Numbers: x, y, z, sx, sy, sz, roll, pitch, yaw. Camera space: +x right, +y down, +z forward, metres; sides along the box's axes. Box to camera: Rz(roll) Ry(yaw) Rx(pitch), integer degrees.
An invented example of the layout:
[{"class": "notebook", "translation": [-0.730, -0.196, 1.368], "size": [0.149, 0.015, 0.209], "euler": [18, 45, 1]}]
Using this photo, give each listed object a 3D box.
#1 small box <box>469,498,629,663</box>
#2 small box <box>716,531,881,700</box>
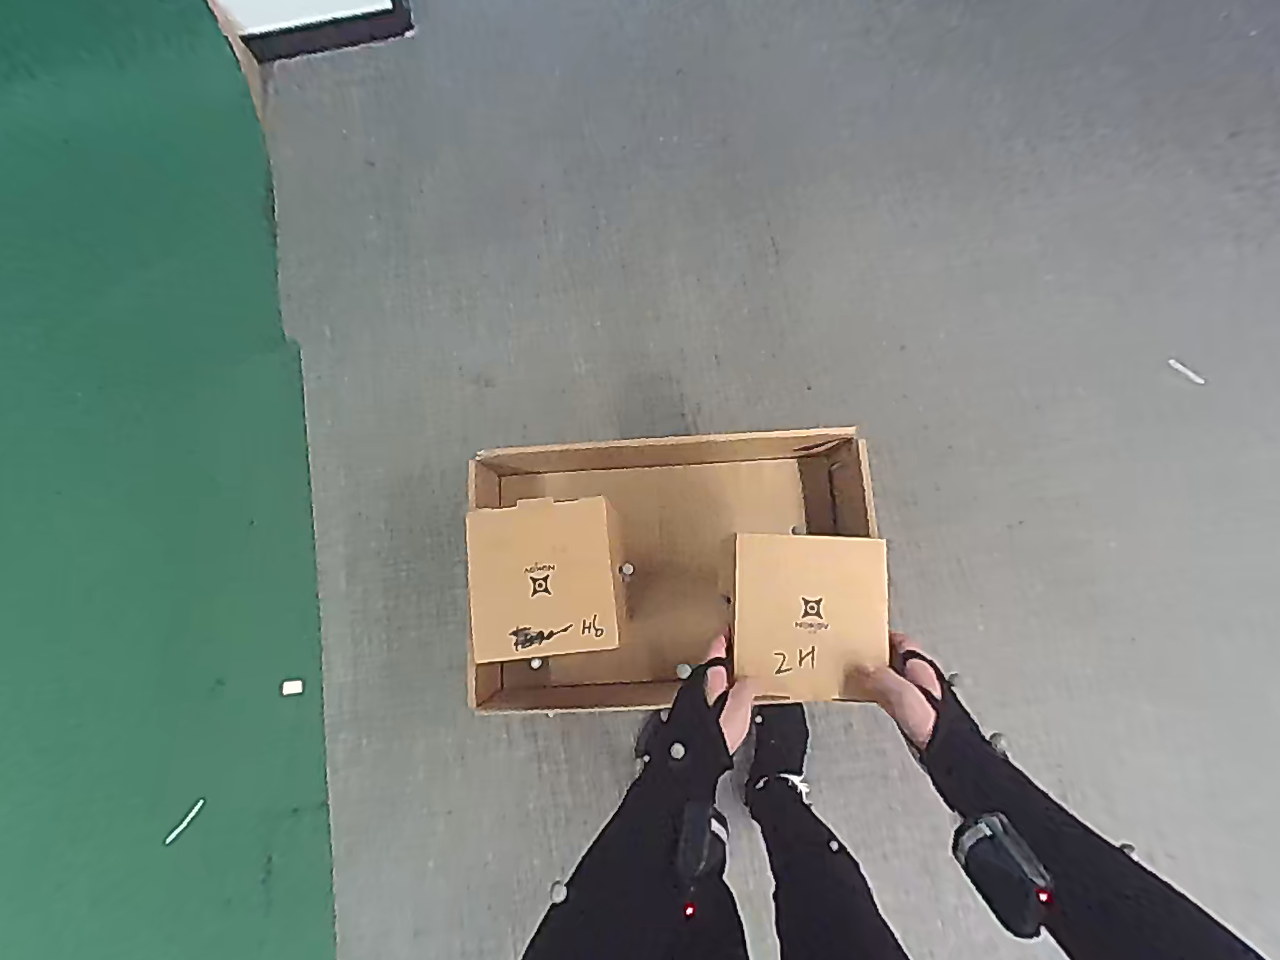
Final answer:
[{"class": "small box", "translation": [-0.110, 0.129, 0.705], "size": [0.168, 0.176, 0.179], "euler": [-7, 80, 4]}, {"class": "small box", "translation": [0.184, 0.157, 0.672], "size": [0.168, 0.176, 0.179], "euler": [2, 83, 4]}]
